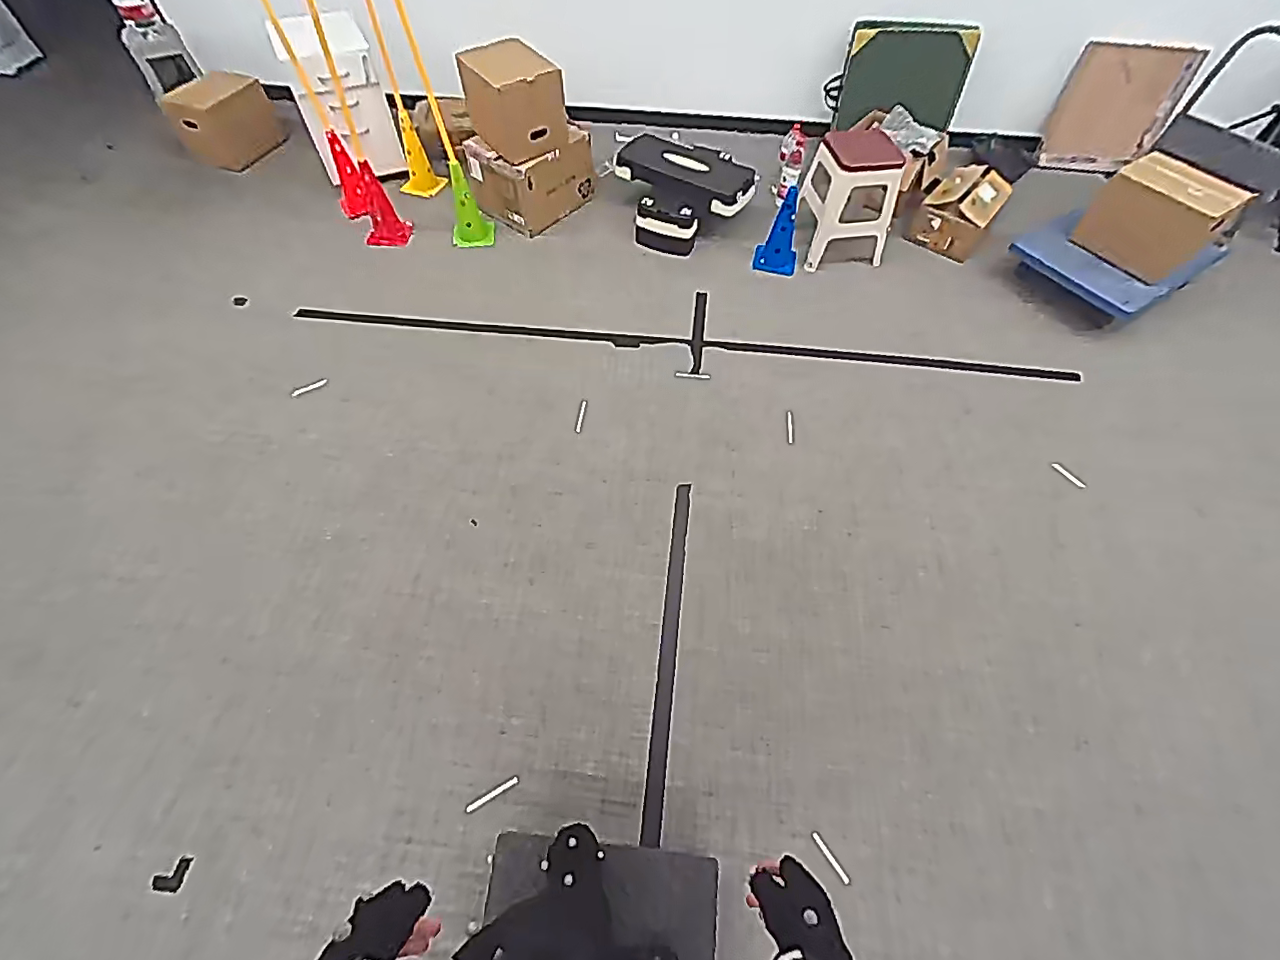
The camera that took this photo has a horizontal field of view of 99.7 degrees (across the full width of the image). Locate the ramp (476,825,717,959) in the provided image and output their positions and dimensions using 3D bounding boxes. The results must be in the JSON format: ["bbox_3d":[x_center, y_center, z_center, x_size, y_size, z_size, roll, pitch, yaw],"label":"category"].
[{"bbox_3d":[-0.122,1.246,1.005,0.509,0.206,0.991,5,57,1],"label":"ramp"}]
